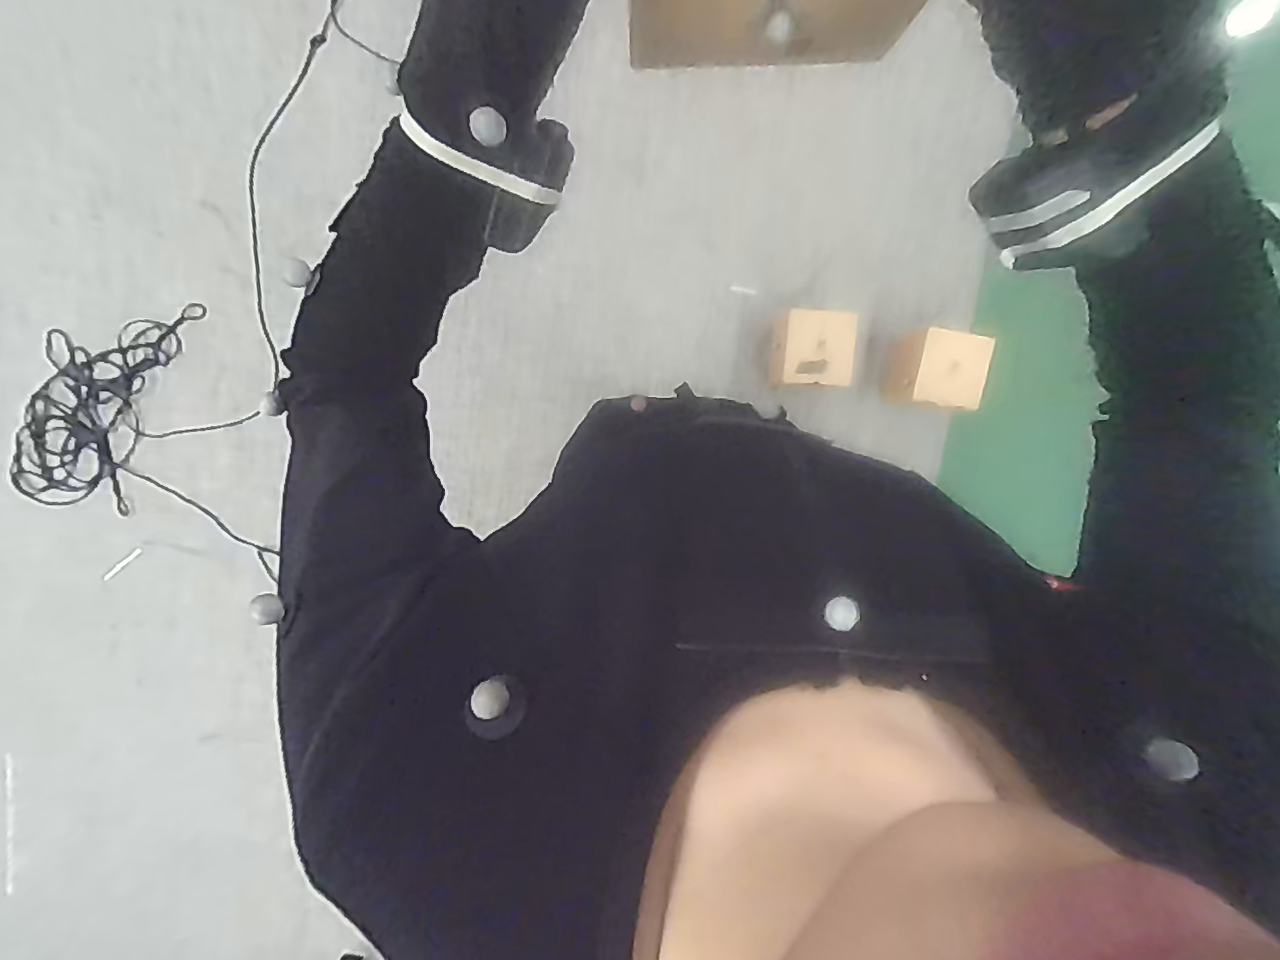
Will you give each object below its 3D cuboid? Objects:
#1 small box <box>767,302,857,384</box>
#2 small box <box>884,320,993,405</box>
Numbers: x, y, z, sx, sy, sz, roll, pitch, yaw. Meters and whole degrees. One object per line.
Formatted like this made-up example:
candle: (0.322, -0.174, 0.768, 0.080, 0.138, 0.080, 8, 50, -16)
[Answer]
small box: (0.424, -0.337, 1.359, 0.168, 0.176, 0.179, 4, 96, -1)
small box: (0.745, -0.290, 1.368, 0.168, 0.176, 0.179, 9, 97, -1)
